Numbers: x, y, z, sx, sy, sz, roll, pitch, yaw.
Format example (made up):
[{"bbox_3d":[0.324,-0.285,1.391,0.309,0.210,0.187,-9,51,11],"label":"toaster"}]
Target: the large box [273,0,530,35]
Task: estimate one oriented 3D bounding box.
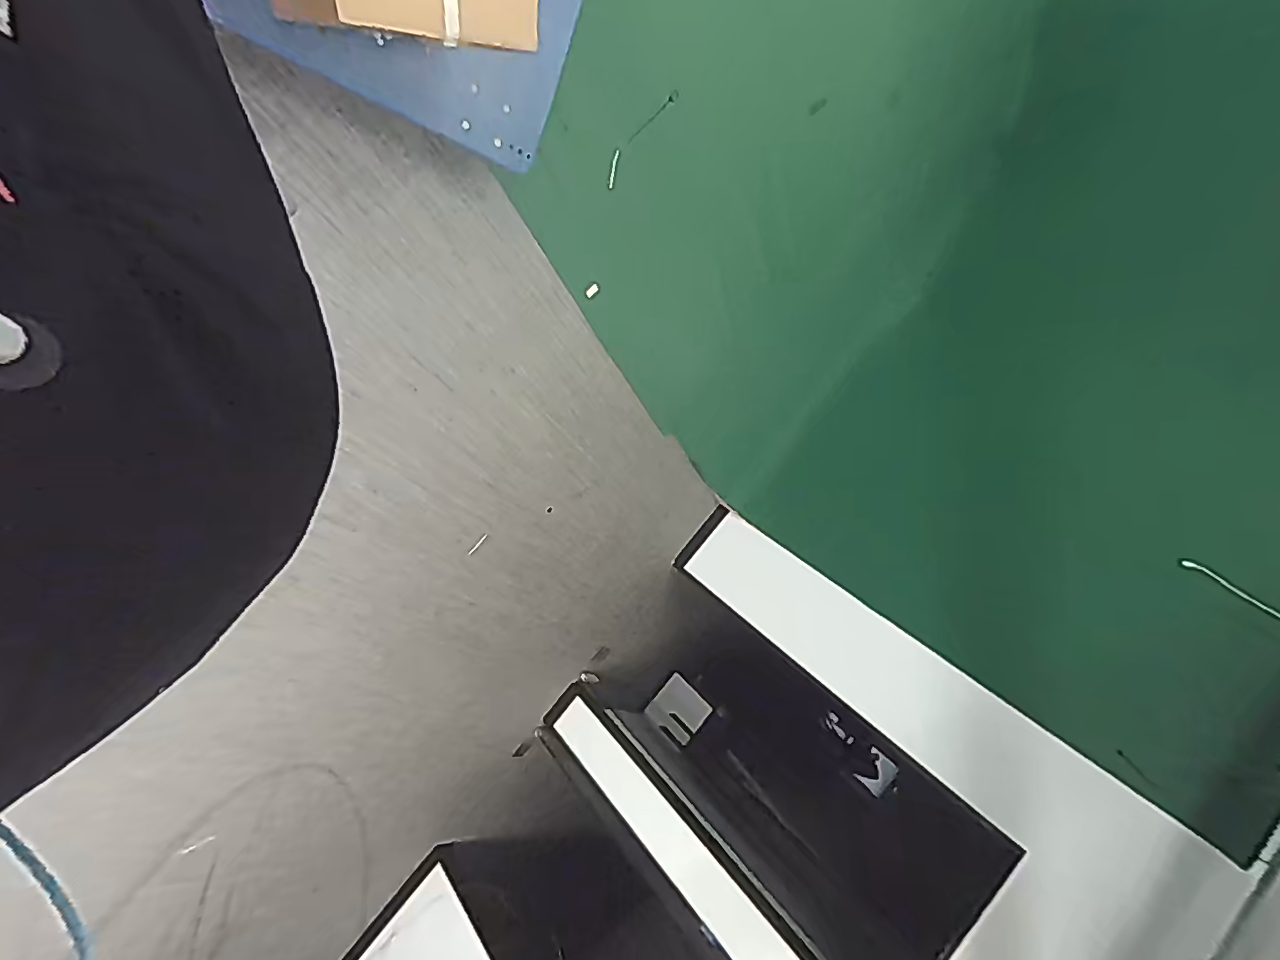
[{"bbox_3d":[-0.376,-0.908,0.769,0.320,0.320,0.408,-24,136,-36],"label":"large box"}]
